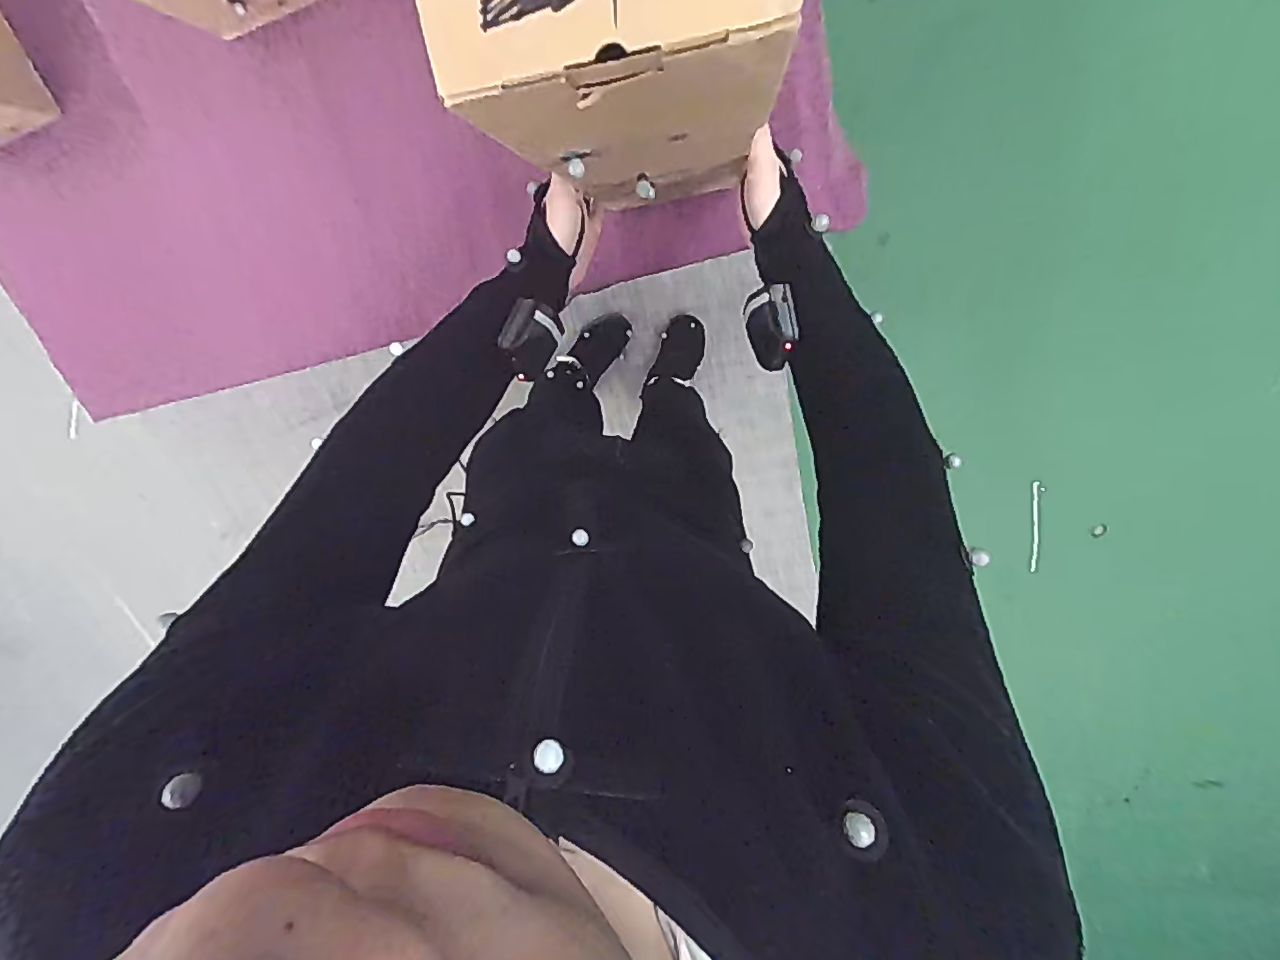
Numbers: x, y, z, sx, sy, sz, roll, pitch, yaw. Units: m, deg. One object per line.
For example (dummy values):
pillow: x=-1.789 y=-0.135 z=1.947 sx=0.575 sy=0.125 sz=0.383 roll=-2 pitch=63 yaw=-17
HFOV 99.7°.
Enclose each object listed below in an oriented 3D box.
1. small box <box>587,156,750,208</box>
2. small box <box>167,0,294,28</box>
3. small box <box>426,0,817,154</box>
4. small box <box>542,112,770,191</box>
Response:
small box: x=0.022 y=-0.409 z=0.581 sx=0.168 sy=0.176 sz=0.179 roll=-7 pitch=111 yaw=8
small box: x=-0.468 y=-0.609 z=0.542 sx=0.168 sy=0.176 sz=0.179 roll=-13 pitch=113 yaw=9
small box: x=-0.009 y=-0.286 z=0.277 sx=0.168 sy=0.176 sz=0.179 roll=-5 pitch=109 yaw=8
small box: x=0.006 y=-0.348 z=0.429 sx=0.168 sy=0.176 sz=0.179 roll=-5 pitch=111 yaw=8
